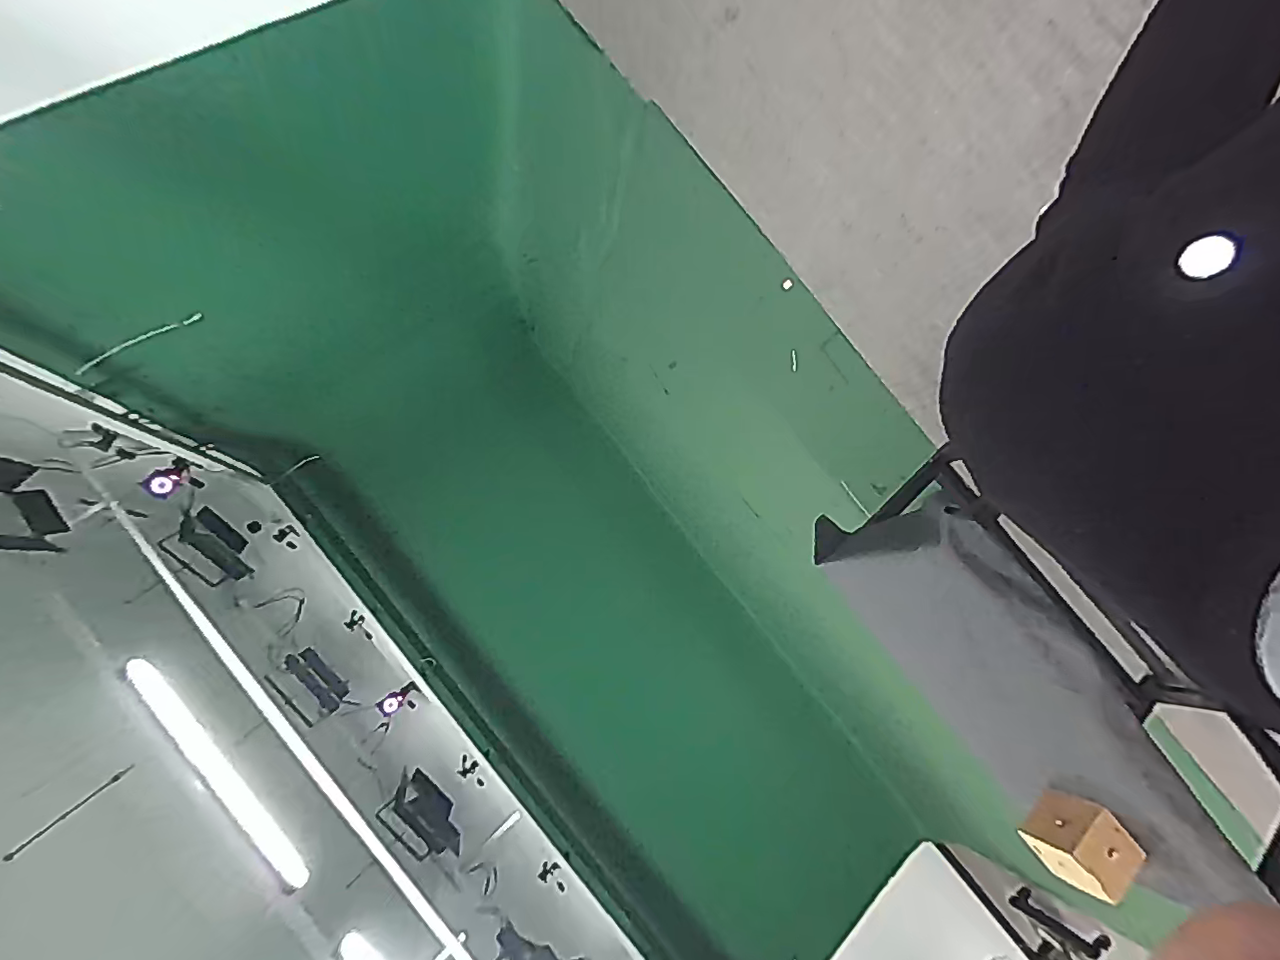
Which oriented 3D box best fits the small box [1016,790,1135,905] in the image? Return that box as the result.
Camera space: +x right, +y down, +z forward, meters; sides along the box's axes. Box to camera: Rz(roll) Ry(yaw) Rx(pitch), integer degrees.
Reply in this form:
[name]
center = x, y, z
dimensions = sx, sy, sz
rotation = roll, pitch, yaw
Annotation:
[small box]
center = 1.203, 0.996, 1.487
dimensions = 0.168, 0.176, 0.179
rotation = 51, 162, 4
